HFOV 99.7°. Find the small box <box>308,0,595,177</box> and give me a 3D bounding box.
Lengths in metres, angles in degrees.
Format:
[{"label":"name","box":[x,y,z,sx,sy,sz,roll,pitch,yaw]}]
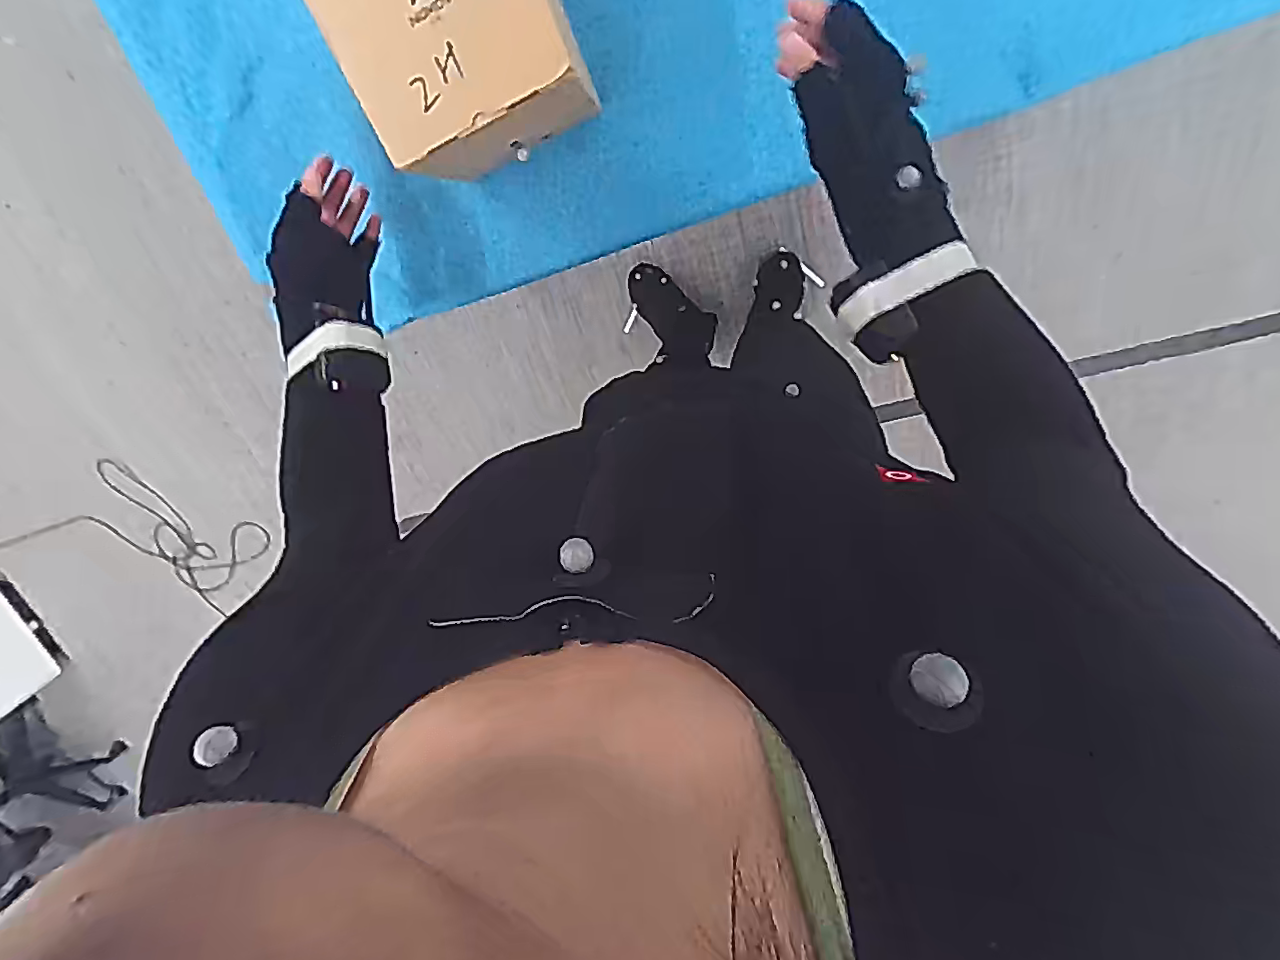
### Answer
[{"label":"small box","box":[-0.151,-0.383,0.467,0.168,0.176,0.179,-16,116,13]}]
